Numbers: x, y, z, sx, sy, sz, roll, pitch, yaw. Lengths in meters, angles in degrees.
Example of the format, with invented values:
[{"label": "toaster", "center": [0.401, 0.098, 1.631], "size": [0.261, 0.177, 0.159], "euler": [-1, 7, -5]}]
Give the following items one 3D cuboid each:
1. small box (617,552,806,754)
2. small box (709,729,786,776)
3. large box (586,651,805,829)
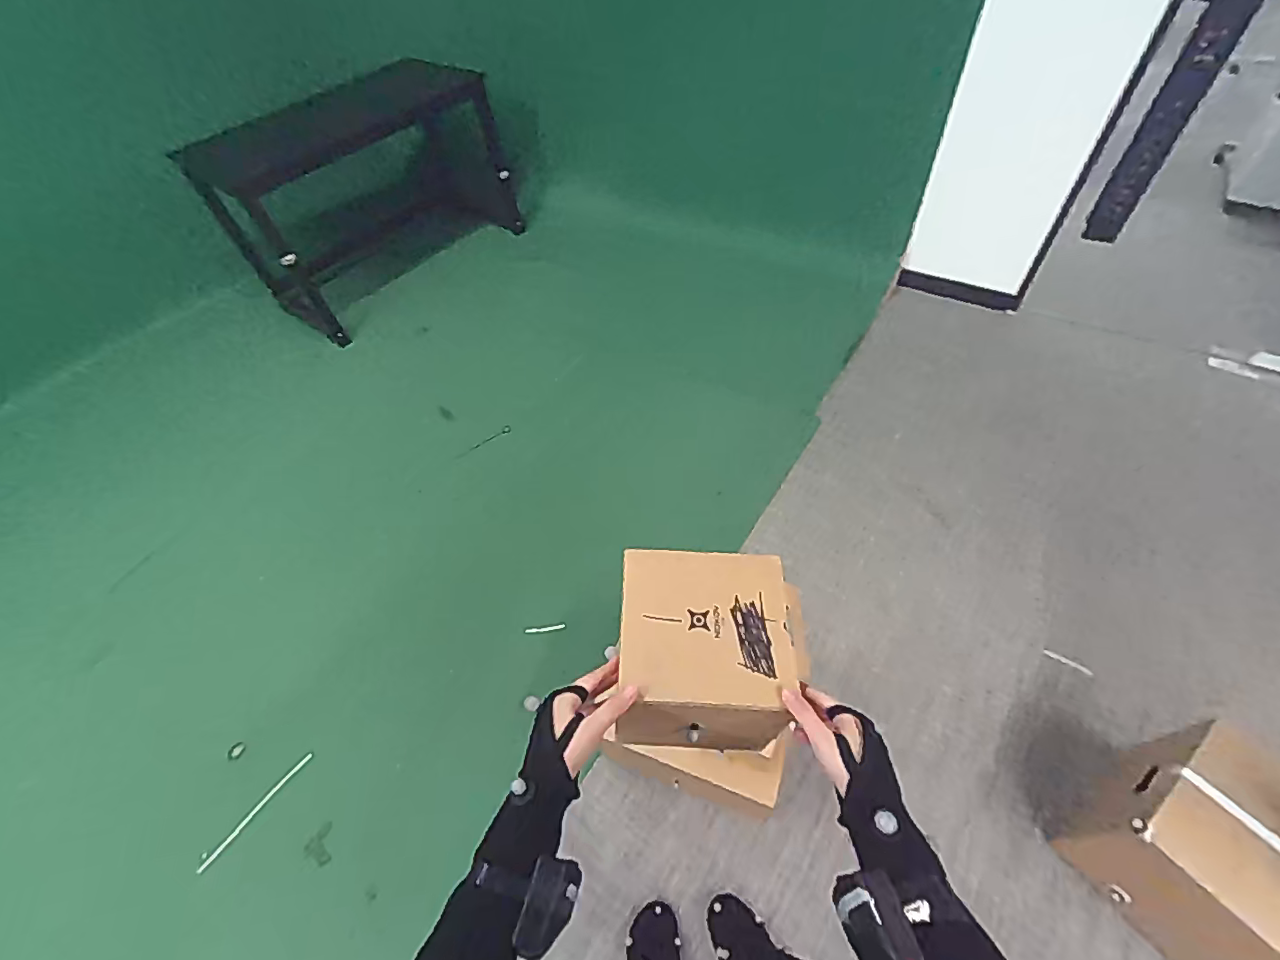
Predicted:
[{"label": "small box", "center": [0.067, 0.198, 0.608], "size": [0.179, 0.176, 0.168], "euler": [2, 50, 0]}, {"label": "small box", "center": [0.188, 0.440, 1.032], "size": [0.179, 0.176, 0.168], "euler": [18, 57, 19]}, {"label": "large box", "center": [0.141, 0.558, 1.260], "size": [0.408, 0.320, 0.320], "euler": [13, 54, 18]}]
